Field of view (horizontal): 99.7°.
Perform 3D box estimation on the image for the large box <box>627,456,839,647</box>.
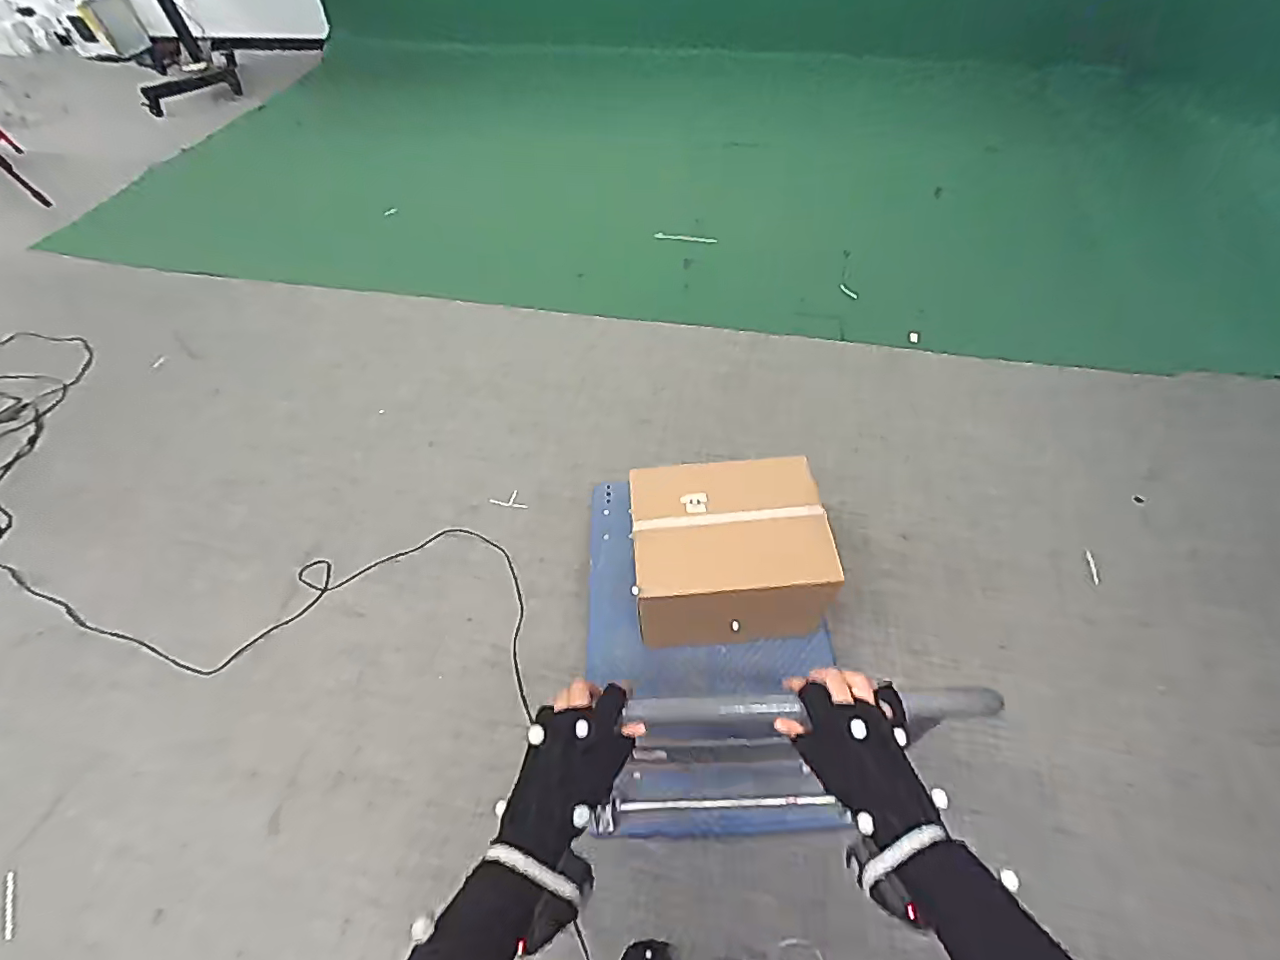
[{"bbox_3d":[0.192,0.176,1.258,0.408,0.320,0.320,-6,53,1],"label":"large box"}]
